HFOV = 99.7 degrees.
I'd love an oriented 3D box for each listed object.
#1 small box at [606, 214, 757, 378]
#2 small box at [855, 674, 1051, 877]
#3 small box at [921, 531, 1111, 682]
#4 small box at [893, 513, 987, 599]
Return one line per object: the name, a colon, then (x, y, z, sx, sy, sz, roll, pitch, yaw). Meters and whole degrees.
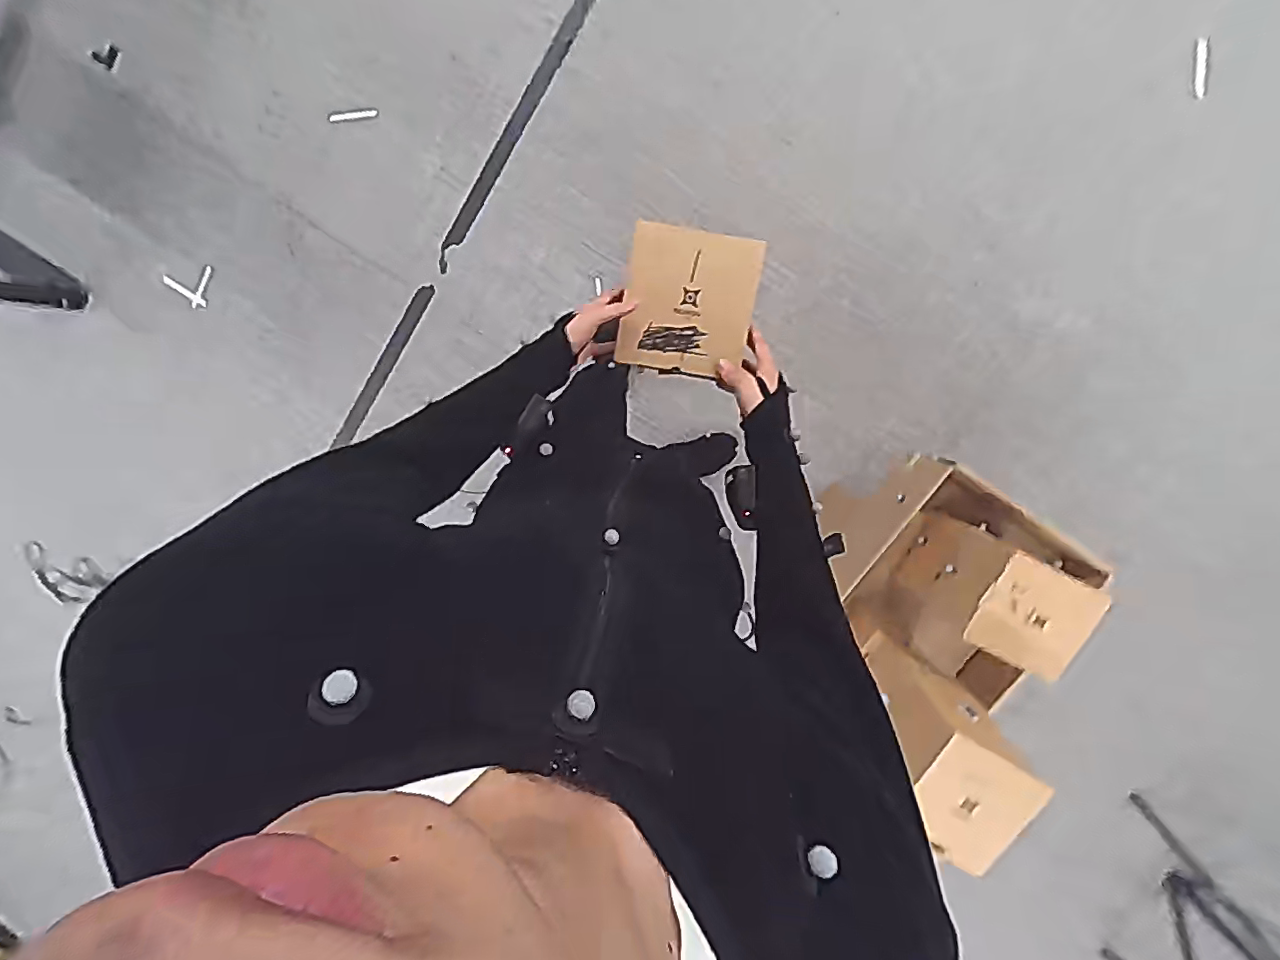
small box: (0.052, -0.244, 0.750, 0.168, 0.176, 0.179, 9, 103, -1)
small box: (0.458, 0.441, 0.831, 0.168, 0.176, 0.179, 31, 101, -2)
small box: (0.638, 0.208, 0.943, 0.179, 0.176, 0.168, 27, 101, 0)
small box: (0.661, 0.183, 1.104, 0.179, 0.176, 0.168, 26, 100, 0)
